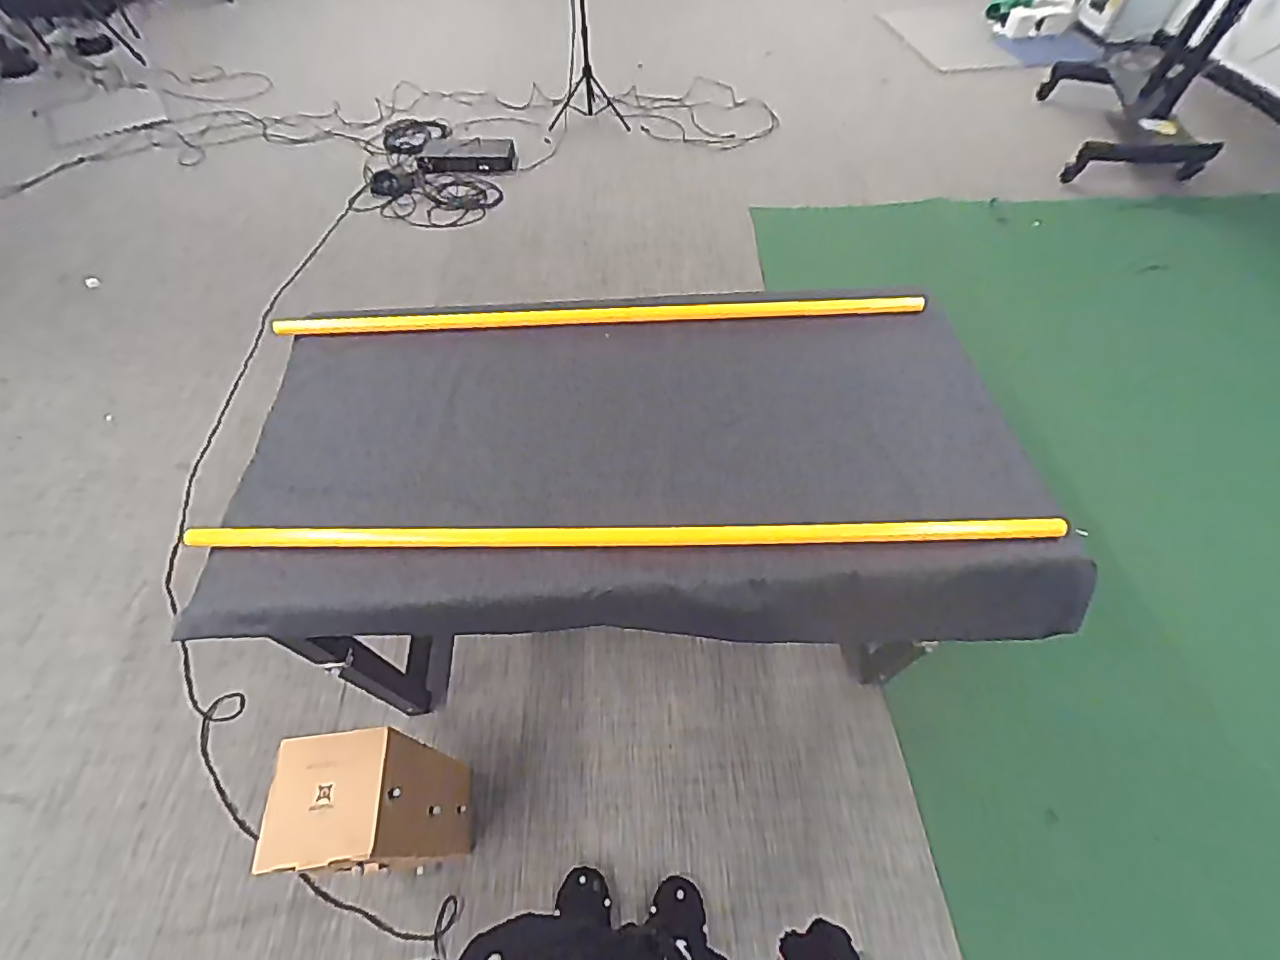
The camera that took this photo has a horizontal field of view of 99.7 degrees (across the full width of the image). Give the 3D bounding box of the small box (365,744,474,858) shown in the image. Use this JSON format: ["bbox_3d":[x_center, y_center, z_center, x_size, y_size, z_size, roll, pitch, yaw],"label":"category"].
[{"bbox_3d":[-0.456,0.680,1.144,0.168,0.176,0.179,-9,57,-5],"label":"small box"}]
